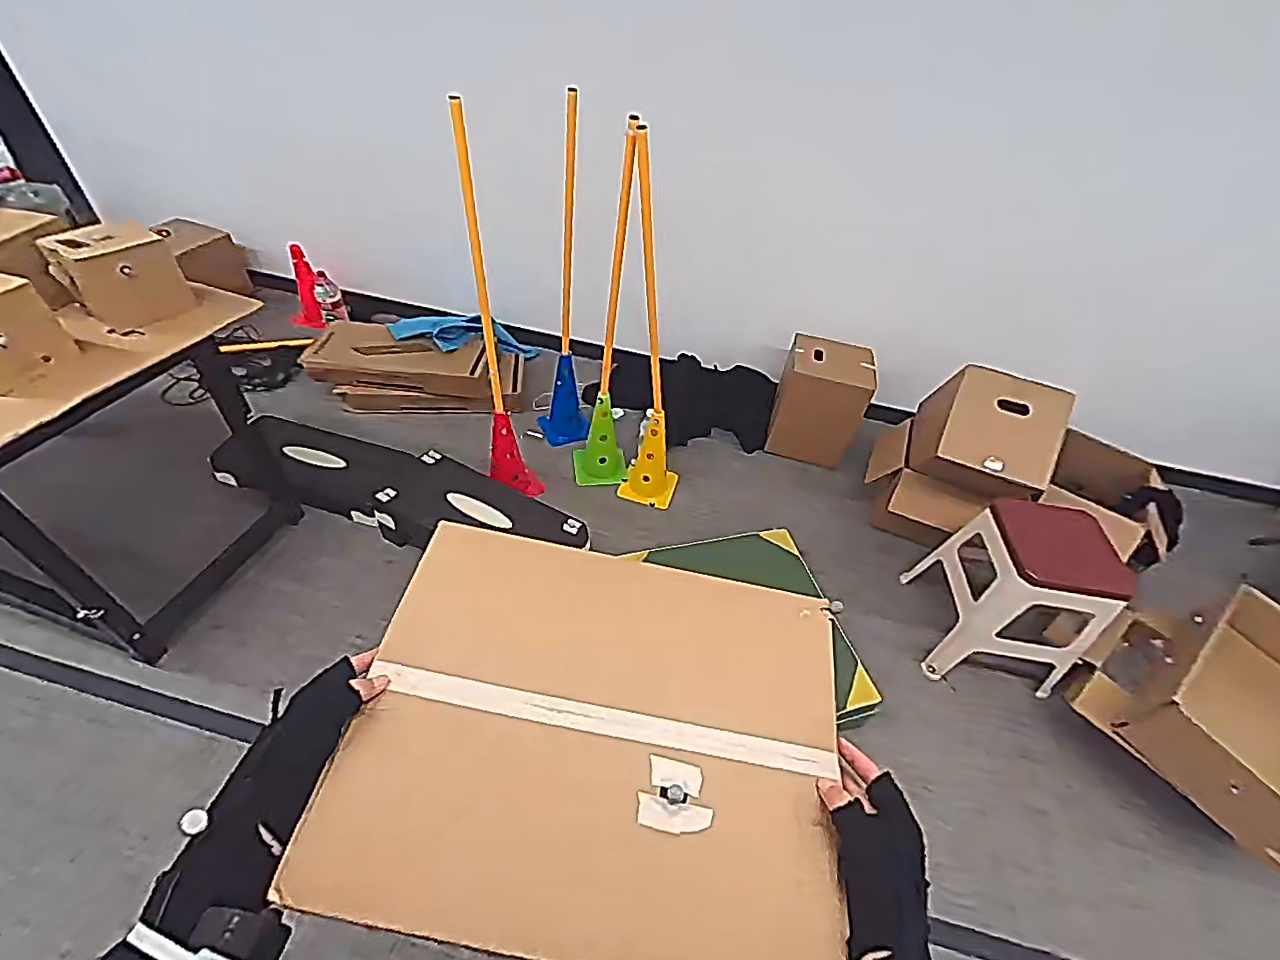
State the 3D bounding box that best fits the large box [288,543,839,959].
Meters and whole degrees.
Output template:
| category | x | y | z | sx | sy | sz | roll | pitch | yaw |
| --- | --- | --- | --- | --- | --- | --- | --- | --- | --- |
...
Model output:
| category | x | y | z | sx | sy | sz | roll | pitch | yaw |
| --- | --- | --- | --- | --- | --- | --- | --- | --- | --- |
| large box | -0.052 | 0.307 | 0.585 | 0.408 | 0.320 | 0.320 | 12 | 53 | 0 |
